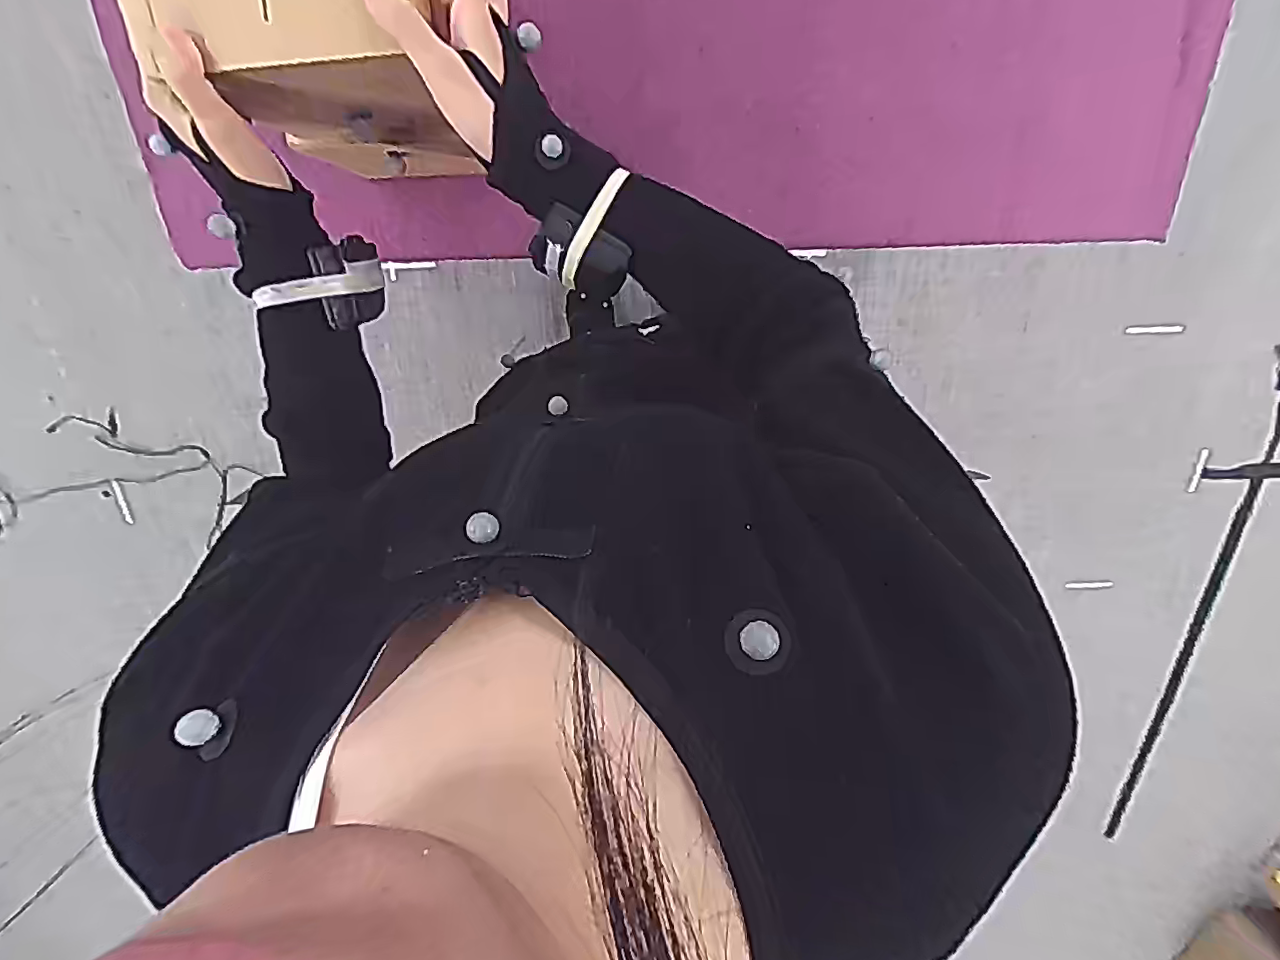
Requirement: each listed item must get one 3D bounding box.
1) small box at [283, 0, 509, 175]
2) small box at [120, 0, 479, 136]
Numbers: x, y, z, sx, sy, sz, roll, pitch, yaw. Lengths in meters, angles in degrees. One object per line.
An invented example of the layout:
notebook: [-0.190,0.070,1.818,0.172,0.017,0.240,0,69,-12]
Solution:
small box: [-0.229,-0.401,0.521,0.179,0.176,0.168,-3,112,-2]
small box: [-0.220,-0.355,0.362,0.168,0.176,0.179,-6,113,-1]
